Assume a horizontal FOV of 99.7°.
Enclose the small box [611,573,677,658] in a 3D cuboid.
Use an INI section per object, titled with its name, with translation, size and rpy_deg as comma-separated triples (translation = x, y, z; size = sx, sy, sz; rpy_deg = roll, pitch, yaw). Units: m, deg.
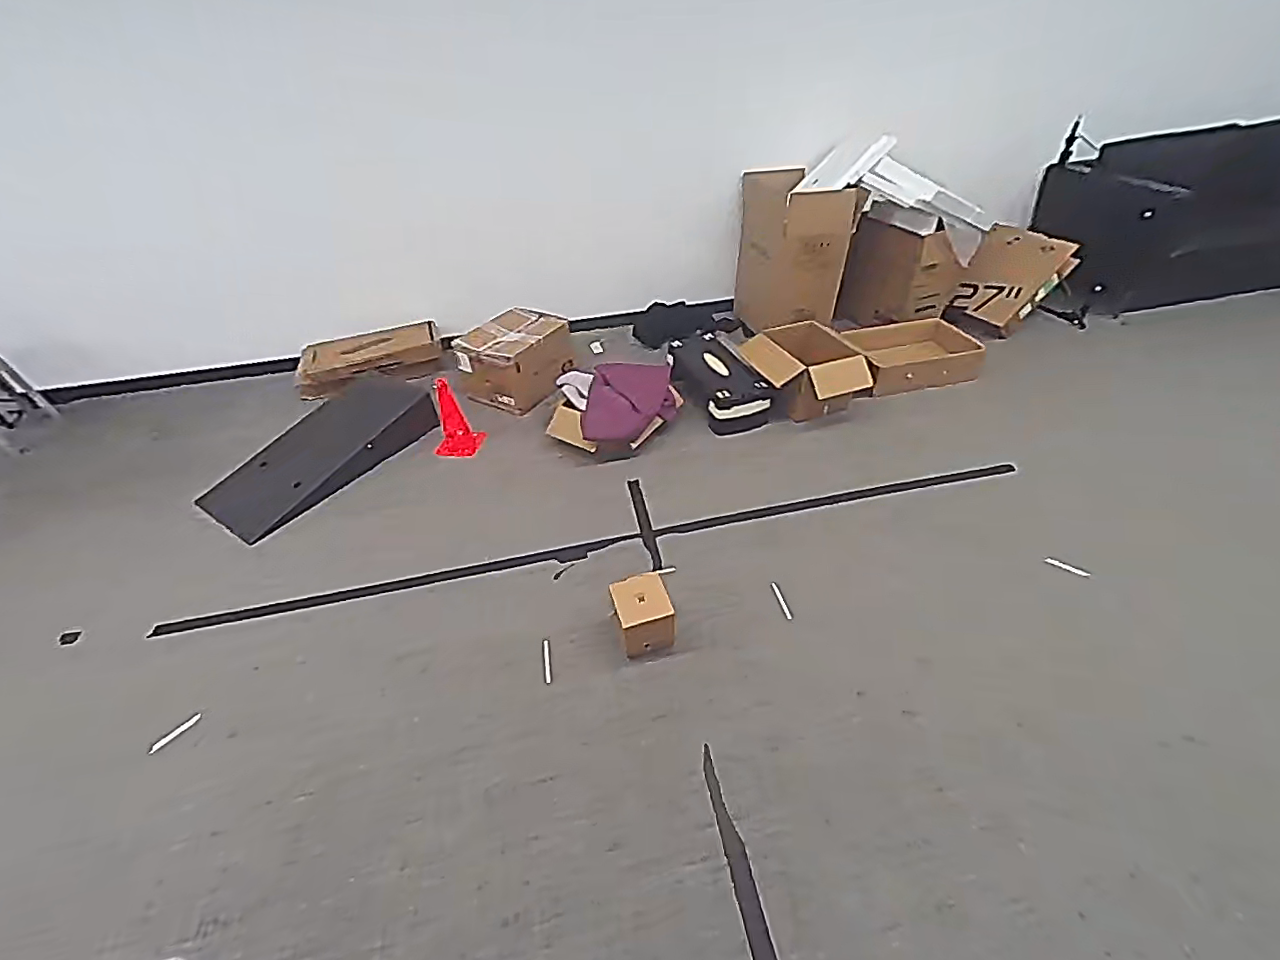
[small box]
translation = 0.011, 0.431, 1.722
size = 0.168, 0.176, 0.179
rpy_deg = -15, 43, -11
